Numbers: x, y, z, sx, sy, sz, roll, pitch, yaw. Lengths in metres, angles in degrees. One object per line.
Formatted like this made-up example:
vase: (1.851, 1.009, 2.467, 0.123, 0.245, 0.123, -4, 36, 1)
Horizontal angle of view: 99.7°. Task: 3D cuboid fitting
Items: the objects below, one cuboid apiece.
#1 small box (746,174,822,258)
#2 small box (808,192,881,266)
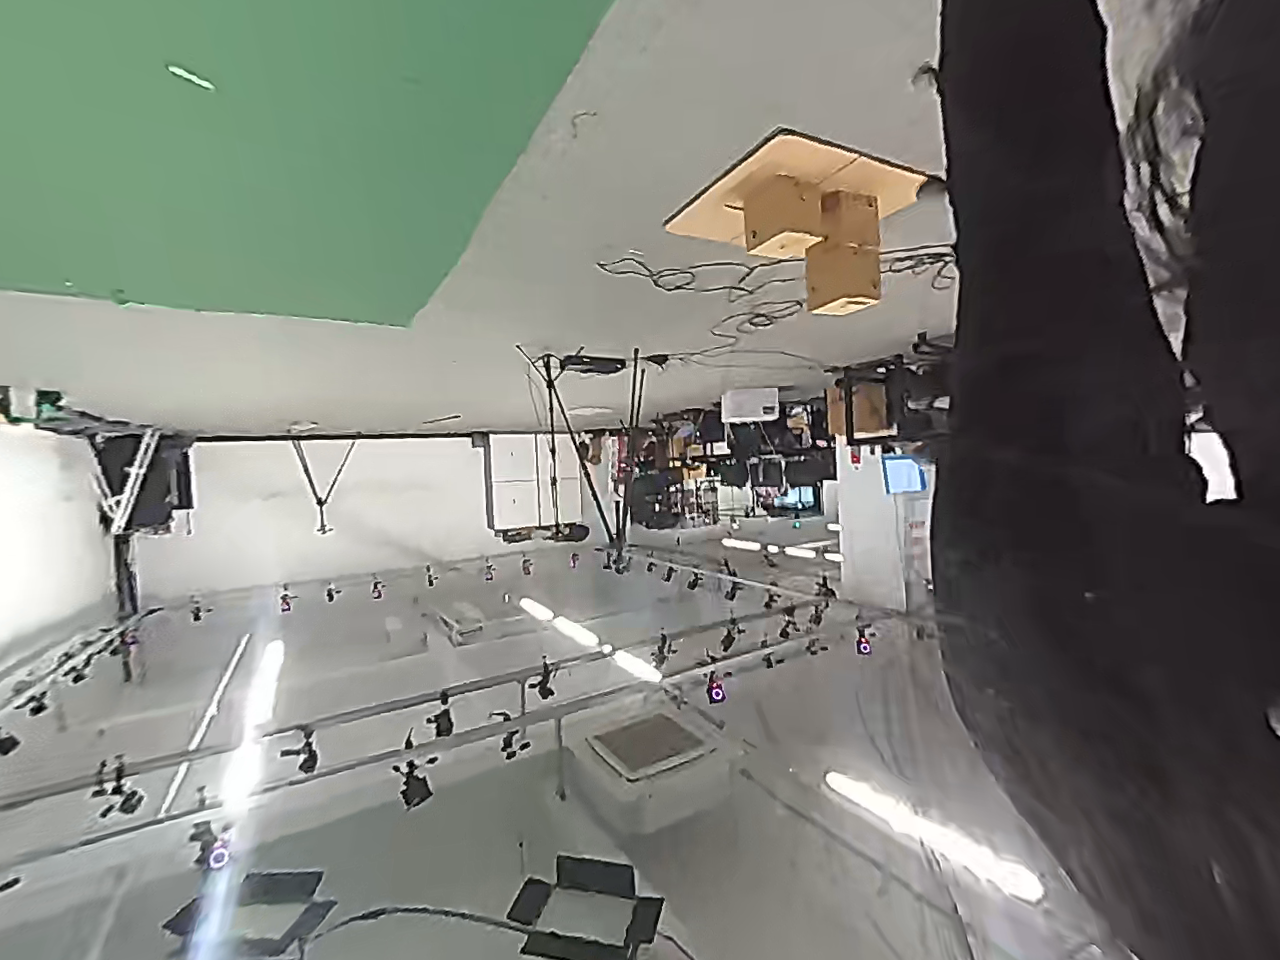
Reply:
small box: (0.448, -0.822, 1.696, 0.168, 0.176, 0.179, -5, -178, -28)
small box: (0.673, -0.835, 1.806, 0.168, 0.176, 0.179, -4, -178, -24)
